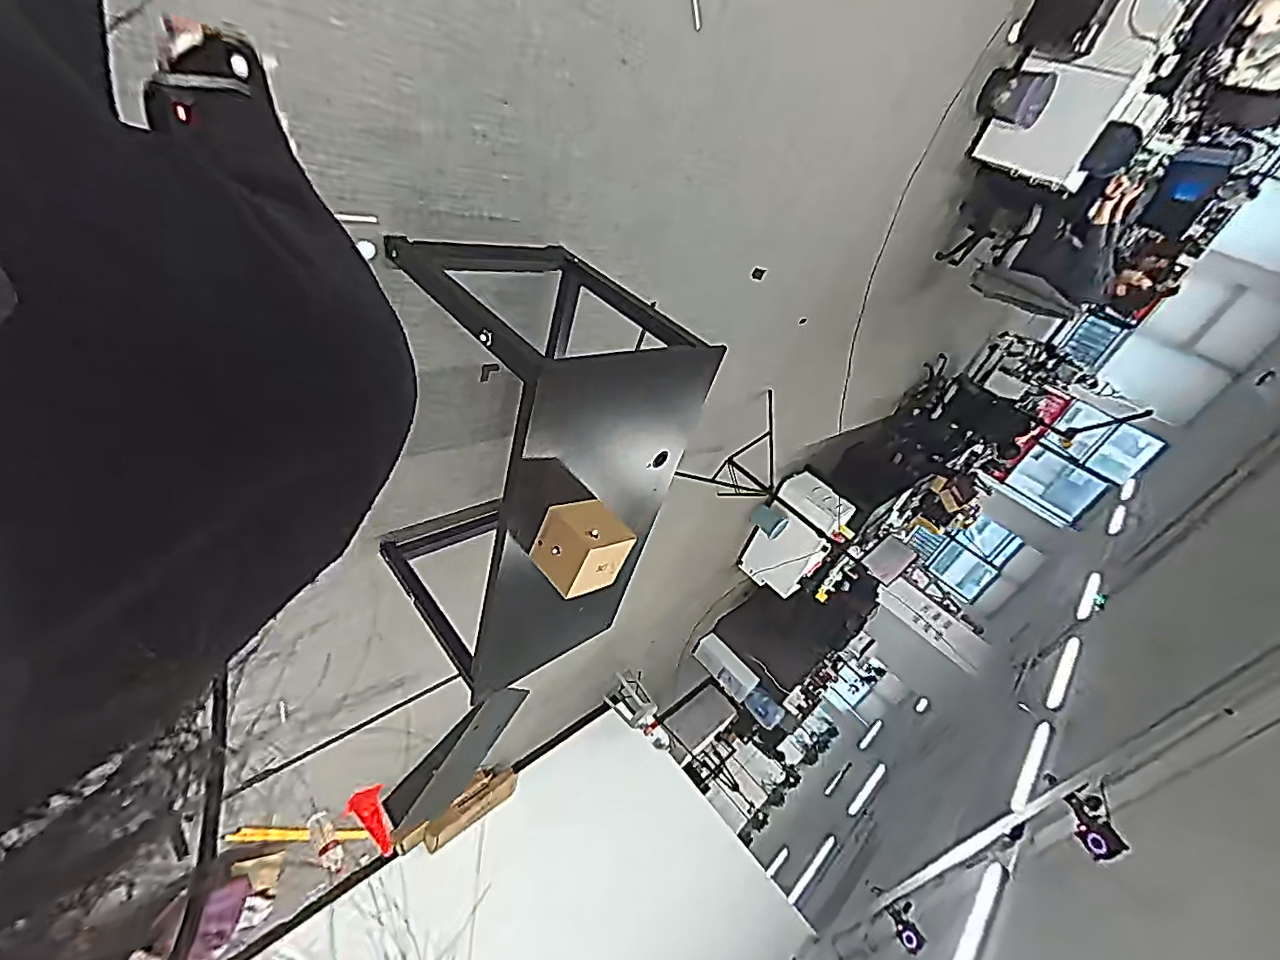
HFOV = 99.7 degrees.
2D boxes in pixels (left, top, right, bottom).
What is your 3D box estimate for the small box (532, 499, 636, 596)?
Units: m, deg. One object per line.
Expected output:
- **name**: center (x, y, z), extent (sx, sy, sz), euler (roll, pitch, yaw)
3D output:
- **small box**: center (-0.149, 0.167, 1.394), extent (0.179, 0.176, 0.168), euler (-9, 133, -51)
